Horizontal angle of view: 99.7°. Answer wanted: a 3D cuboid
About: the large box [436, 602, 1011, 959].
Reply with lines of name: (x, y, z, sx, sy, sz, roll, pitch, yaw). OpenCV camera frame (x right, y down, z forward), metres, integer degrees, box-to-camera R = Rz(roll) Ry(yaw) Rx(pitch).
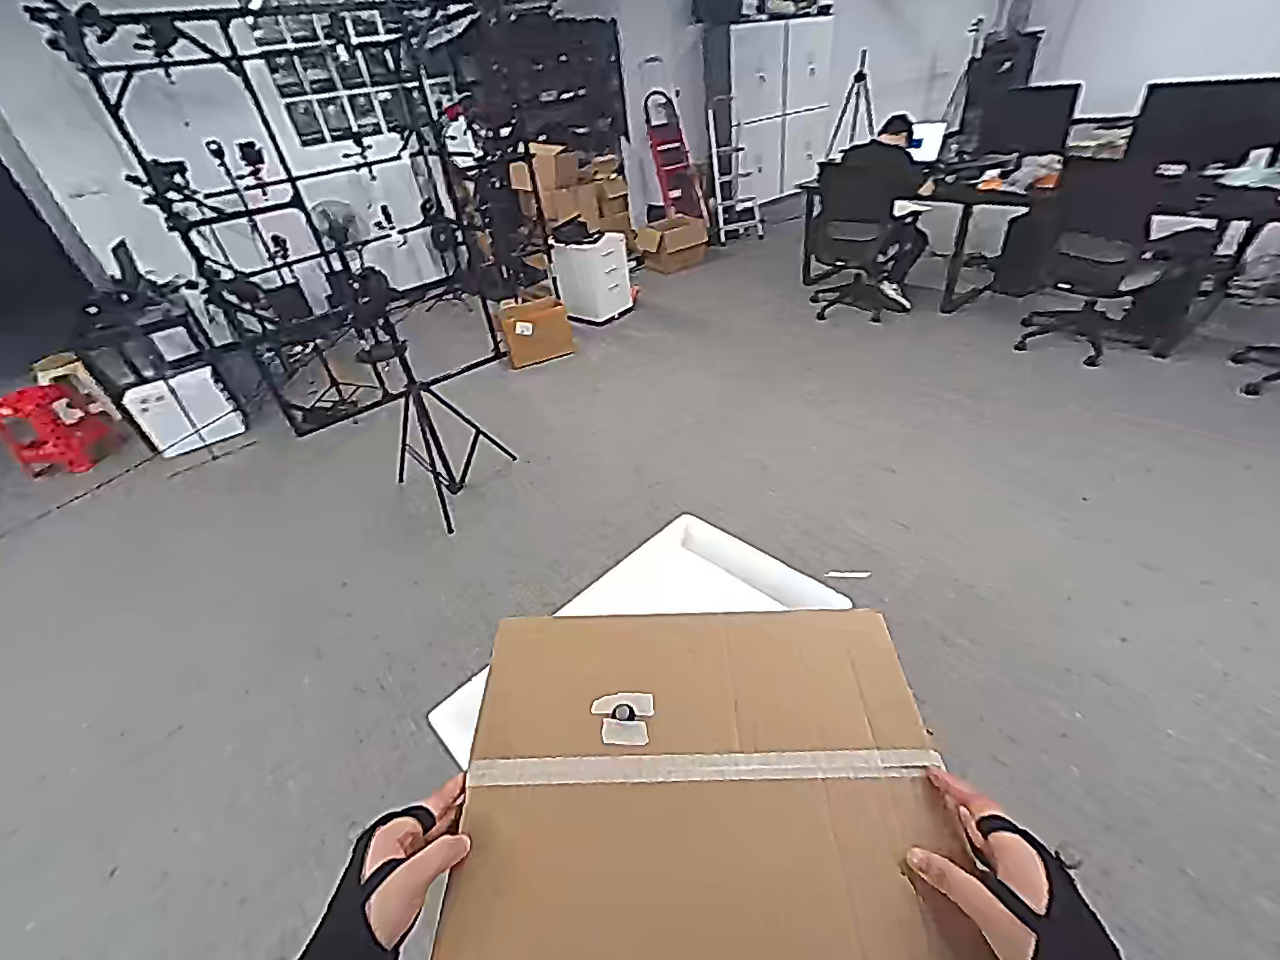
large box: (0.061, 0.355, 0.565, 0.408, 0.320, 0.320, -4, 43, 2)
